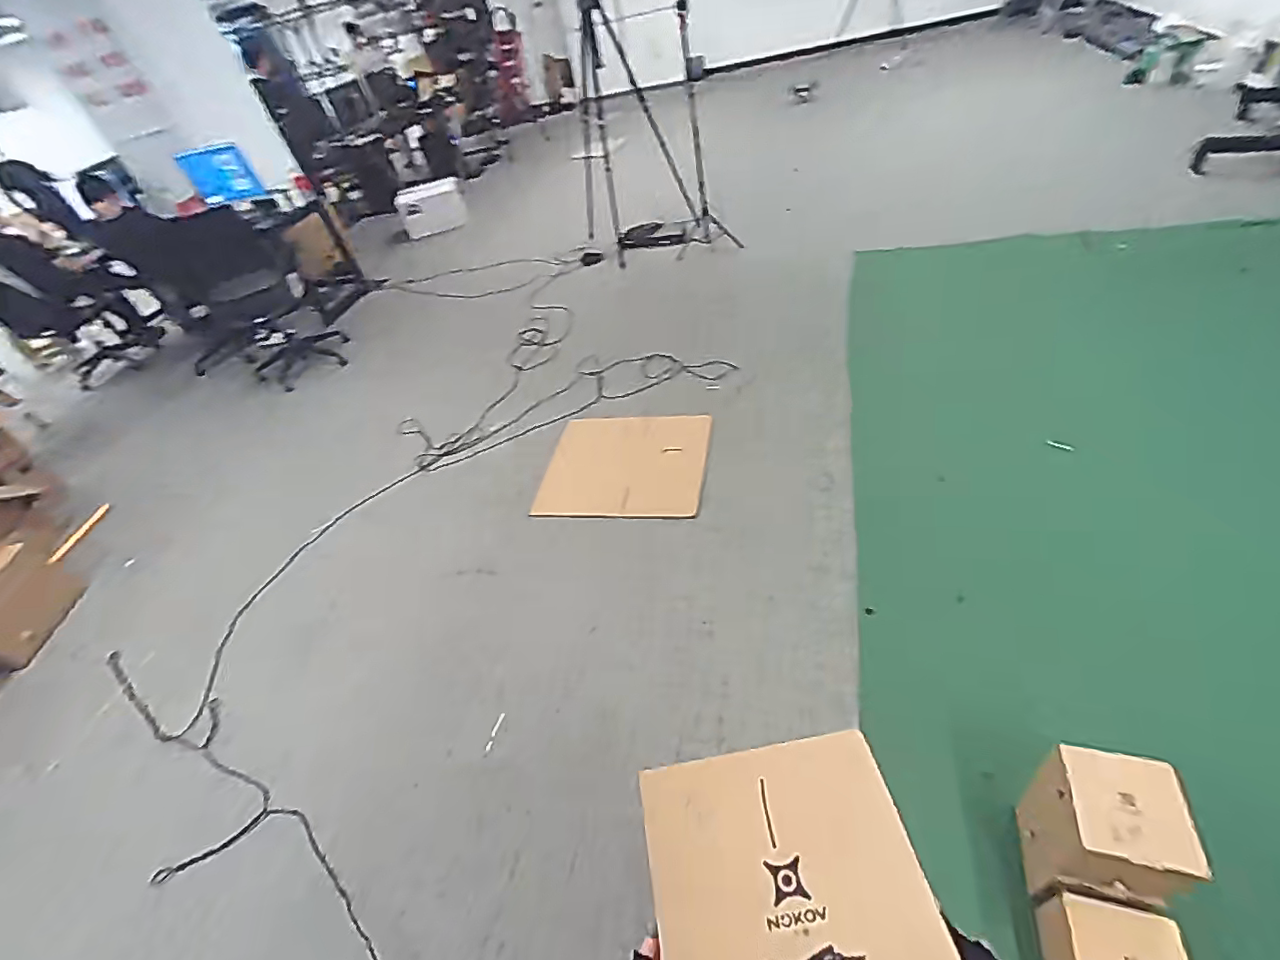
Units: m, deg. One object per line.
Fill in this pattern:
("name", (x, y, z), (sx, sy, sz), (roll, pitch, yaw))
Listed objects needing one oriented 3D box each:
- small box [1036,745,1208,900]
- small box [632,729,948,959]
("small box", (0.848, 0.618, 0.977), (0.168, 0.176, 0.179), (4, 45, 20))
("small box", (0.097, 0.311, 0.385), (0.168, 0.176, 0.179), (-12, 43, -1))
